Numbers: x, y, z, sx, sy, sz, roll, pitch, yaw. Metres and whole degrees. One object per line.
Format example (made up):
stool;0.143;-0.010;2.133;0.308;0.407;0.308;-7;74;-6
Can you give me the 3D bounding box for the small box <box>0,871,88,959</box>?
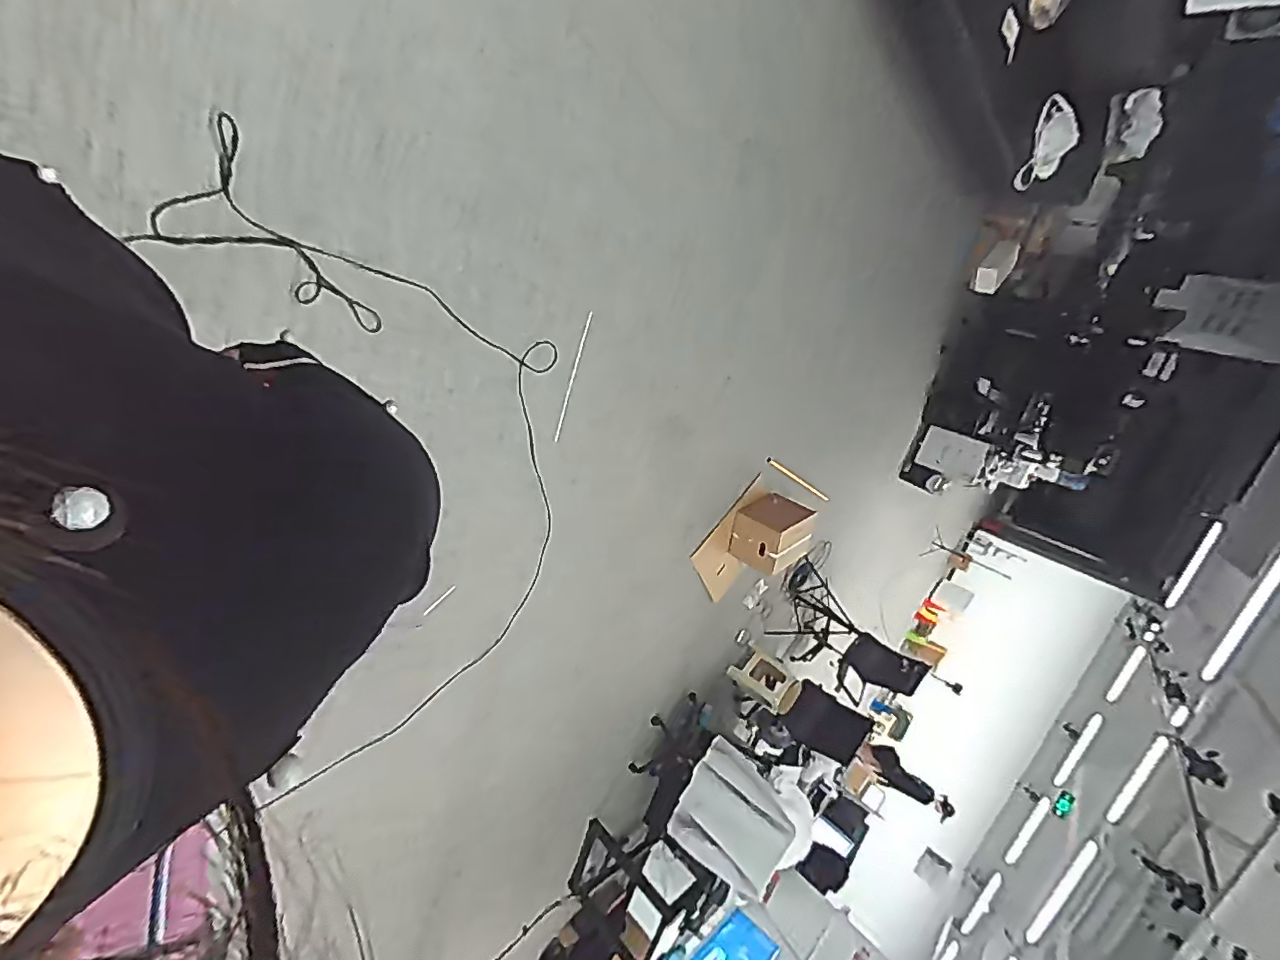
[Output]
small box;-0.760;0.605;0.626;0.168;0.176;0.179;-5;117;-47
